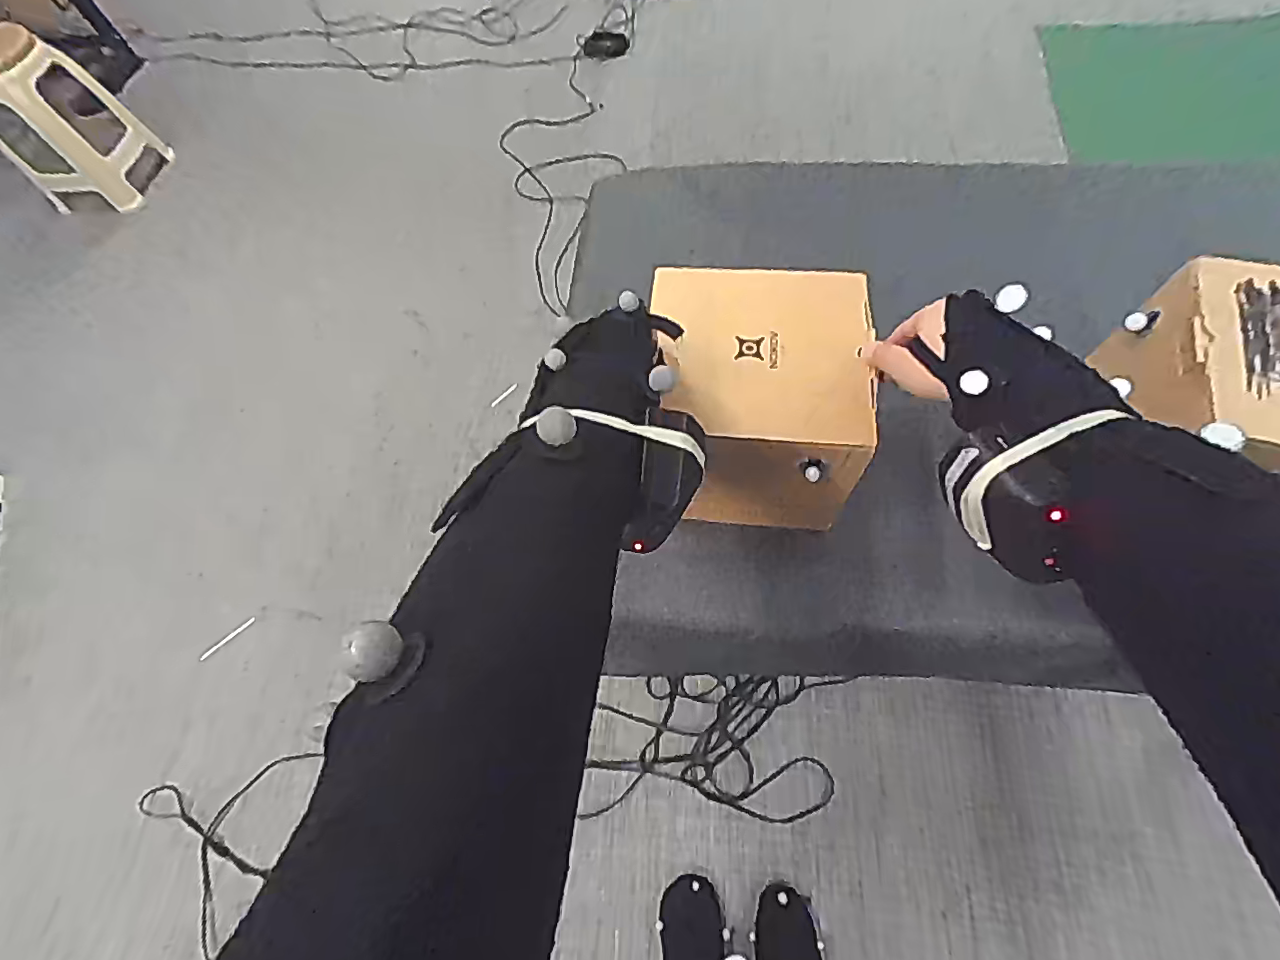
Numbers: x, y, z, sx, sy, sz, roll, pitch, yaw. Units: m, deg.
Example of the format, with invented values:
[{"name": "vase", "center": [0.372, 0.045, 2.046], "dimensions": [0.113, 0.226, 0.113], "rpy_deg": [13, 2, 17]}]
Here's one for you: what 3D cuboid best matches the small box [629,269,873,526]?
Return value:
[{"name": "small box", "center": [0.094, -0.066, 0.491], "dimensions": [0.179, 0.176, 0.168], "rpy_deg": [4, 65, 7]}]
